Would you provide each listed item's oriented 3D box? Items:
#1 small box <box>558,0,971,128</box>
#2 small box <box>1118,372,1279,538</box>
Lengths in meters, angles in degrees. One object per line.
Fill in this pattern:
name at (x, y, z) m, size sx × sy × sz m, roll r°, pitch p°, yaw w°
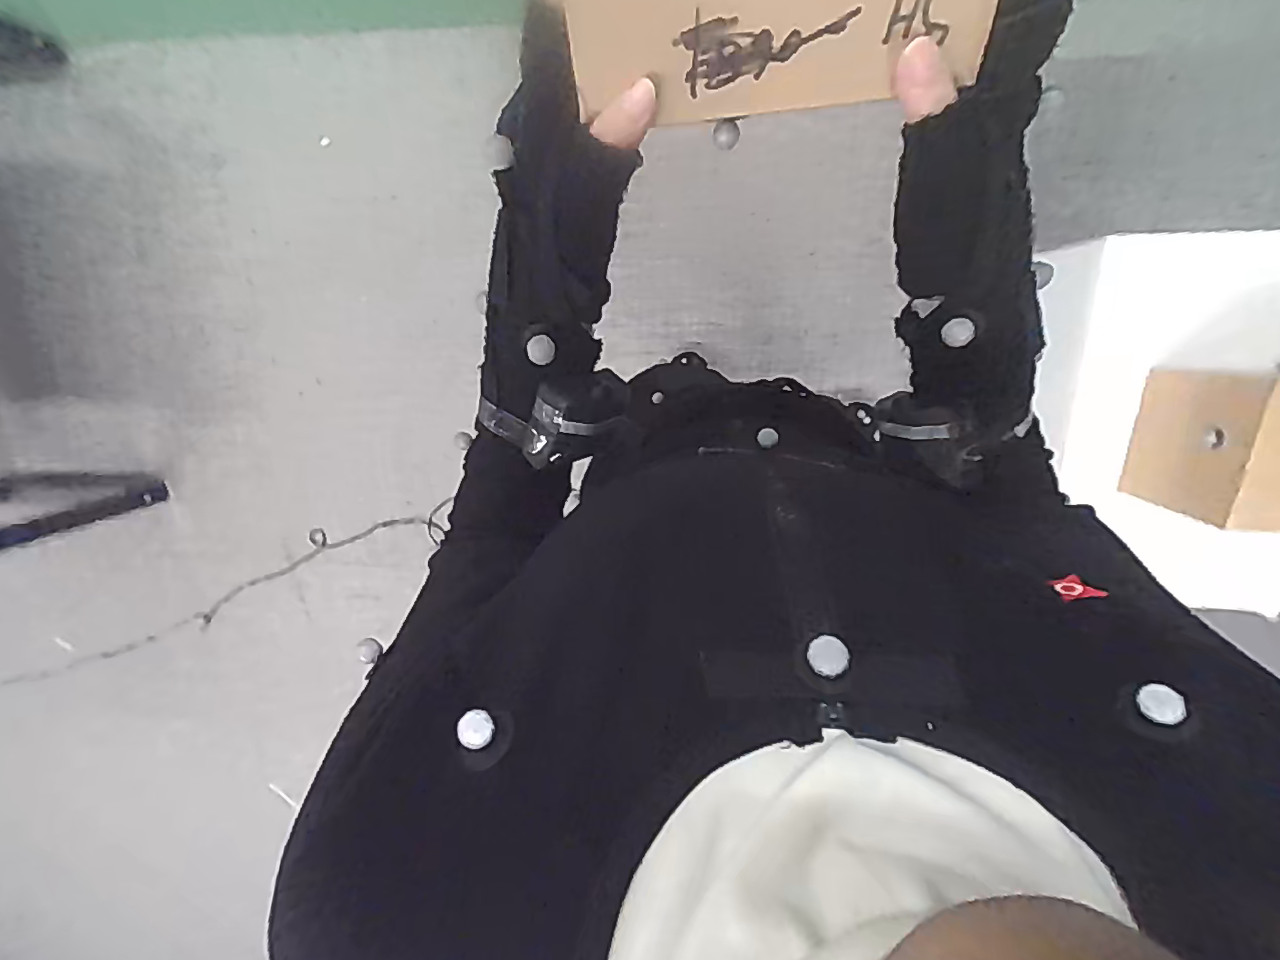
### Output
small box at (0.041, -0.282, 0.246) m, size 0.168 × 0.176 × 0.179 m, roll -7°, pitch 129°, yaw 6°
small box at (0.743, -0.037, 0.660) m, size 0.168 × 0.176 × 0.179 m, roll 4°, pitch 105°, yaw 5°
